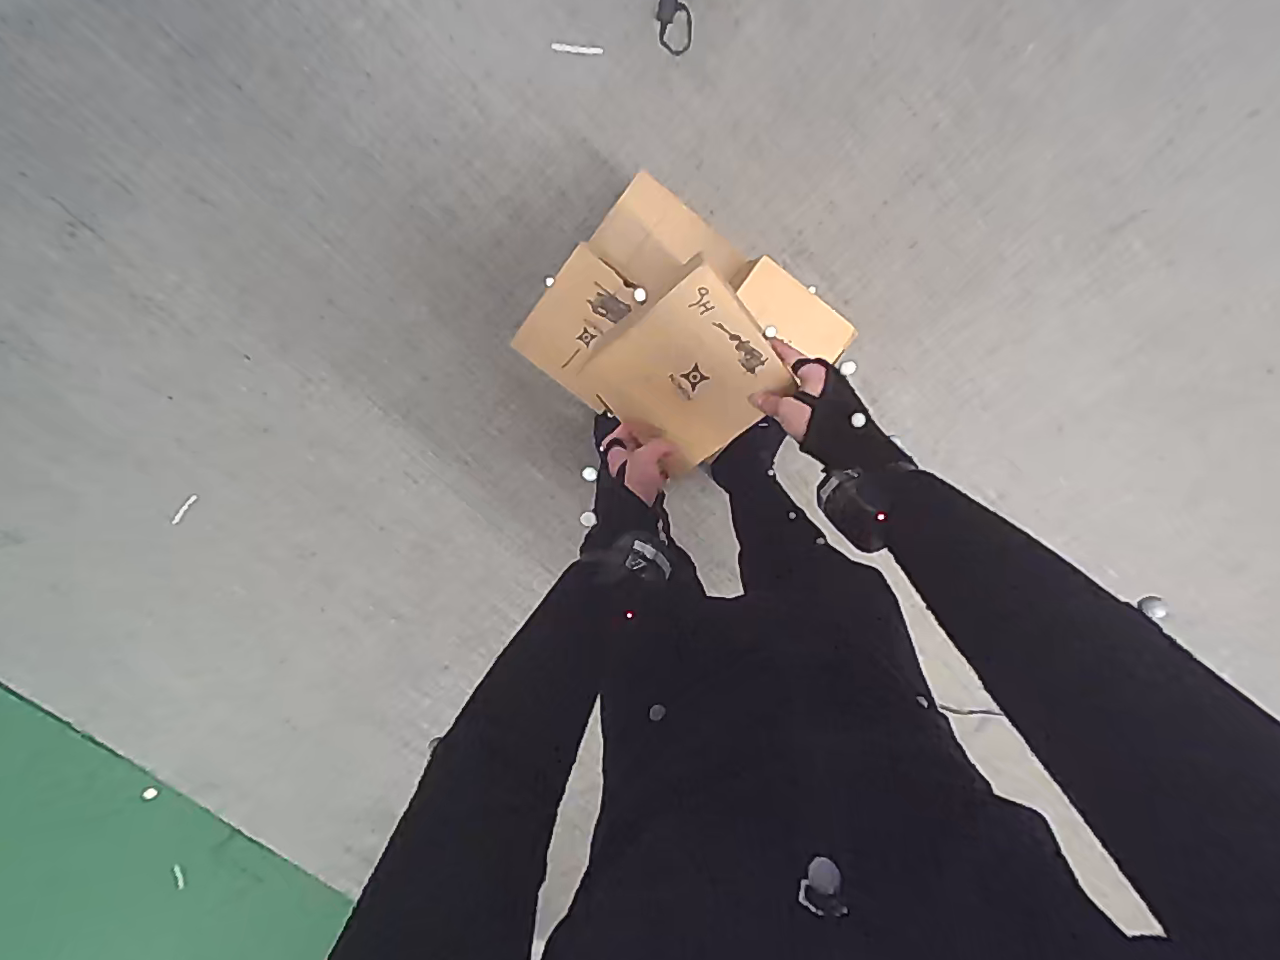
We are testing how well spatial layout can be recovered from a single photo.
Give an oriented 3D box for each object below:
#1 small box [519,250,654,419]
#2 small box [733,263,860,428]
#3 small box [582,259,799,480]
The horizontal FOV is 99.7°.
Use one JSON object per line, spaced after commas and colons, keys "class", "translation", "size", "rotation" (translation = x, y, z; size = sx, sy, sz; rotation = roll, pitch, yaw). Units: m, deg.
{"class": "small box", "translation": [-0.056, -0.229, 0.837], "size": [0.168, 0.176, 0.179], "rotation": [38, 109, -11]}
{"class": "small box", "translation": [0.194, -0.208, 0.837], "size": [0.179, 0.176, 0.168], "rotation": [34, 104, -8]}
{"class": "small box", "translation": [0.061, -0.136, 0.642], "size": [0.179, 0.176, 0.168], "rotation": [-36, 108, 21]}
